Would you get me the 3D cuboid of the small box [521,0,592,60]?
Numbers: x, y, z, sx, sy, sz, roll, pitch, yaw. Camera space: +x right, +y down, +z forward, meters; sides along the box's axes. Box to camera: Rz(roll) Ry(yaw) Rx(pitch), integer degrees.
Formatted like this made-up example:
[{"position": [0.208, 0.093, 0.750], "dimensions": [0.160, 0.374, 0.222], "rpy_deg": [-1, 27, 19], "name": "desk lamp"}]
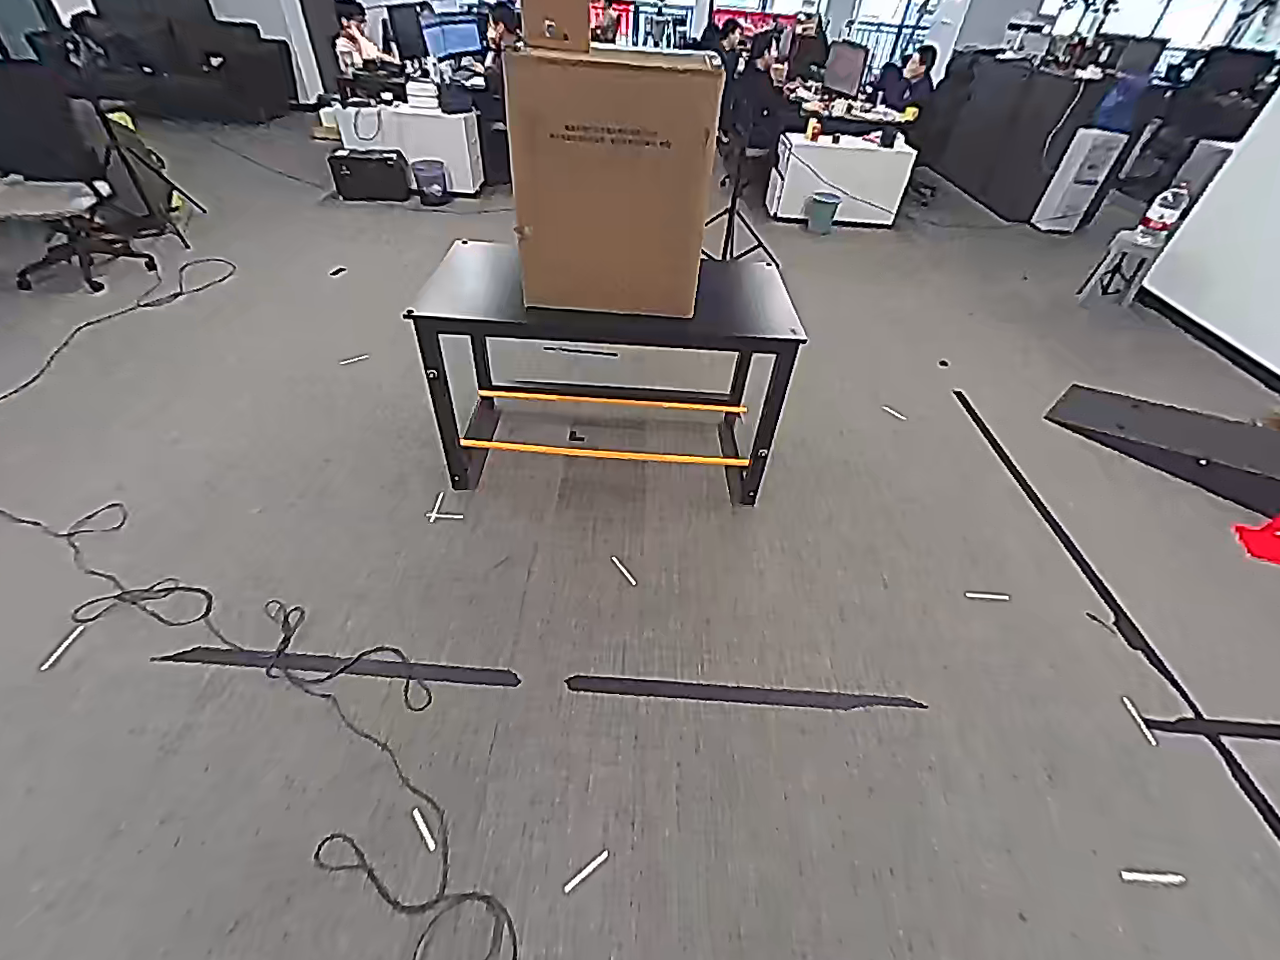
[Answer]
[{"position": [-0.203, -1.159, 1.332], "dimensions": [0.168, 0.176, 0.179], "rpy_deg": [-1, 45, -5], "name": "small box"}]
